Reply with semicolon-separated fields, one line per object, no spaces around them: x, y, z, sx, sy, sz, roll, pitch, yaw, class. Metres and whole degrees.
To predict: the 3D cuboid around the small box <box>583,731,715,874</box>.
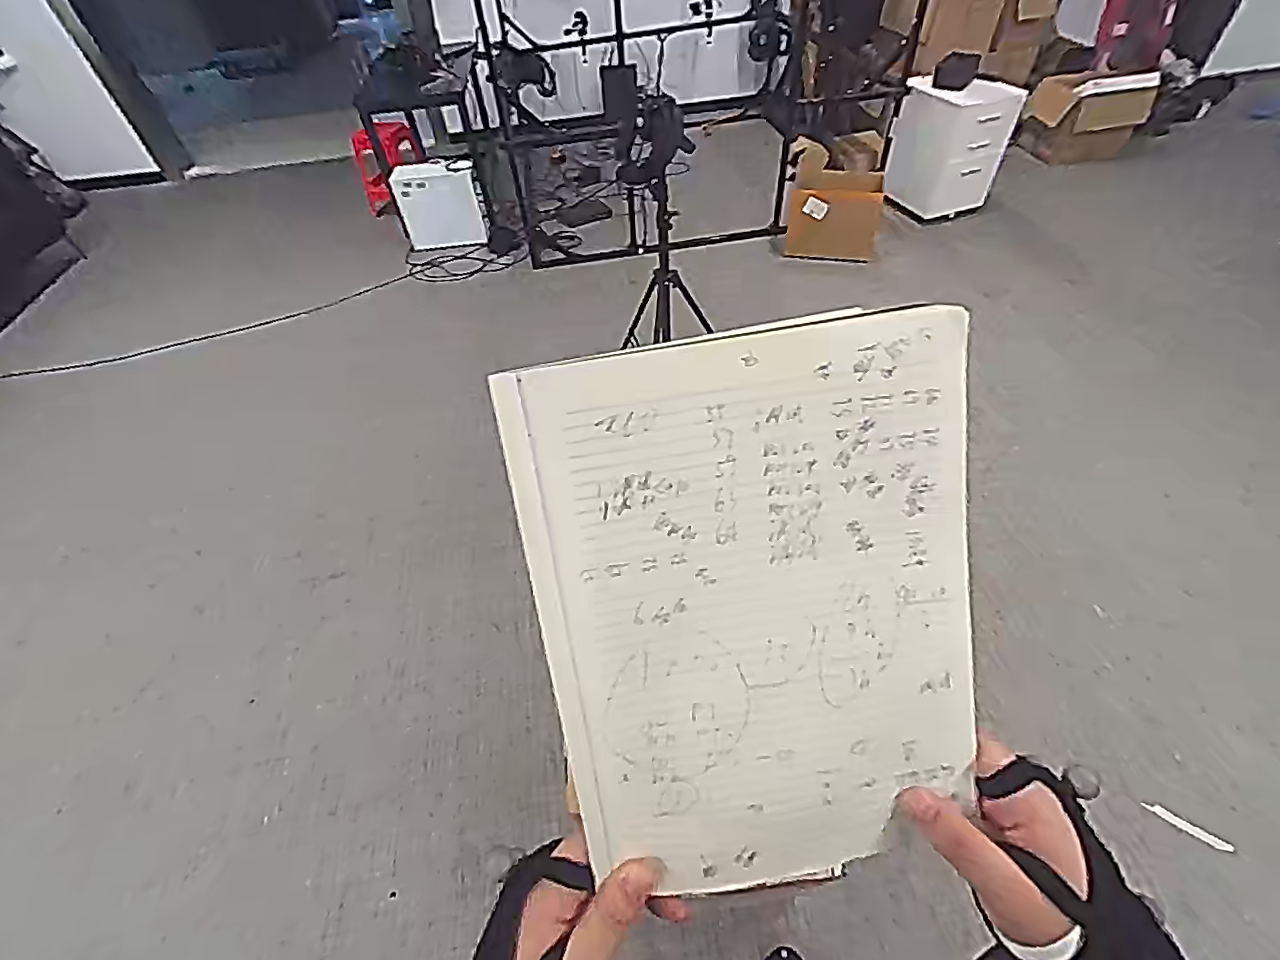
0.015;0.491;0.820;0.179;0.176;0.168;-5;51;3;small box

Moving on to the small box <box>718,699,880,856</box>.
0.229;0.460;0.832;0.179;0.176;0.168;-9;50;-5;small box
